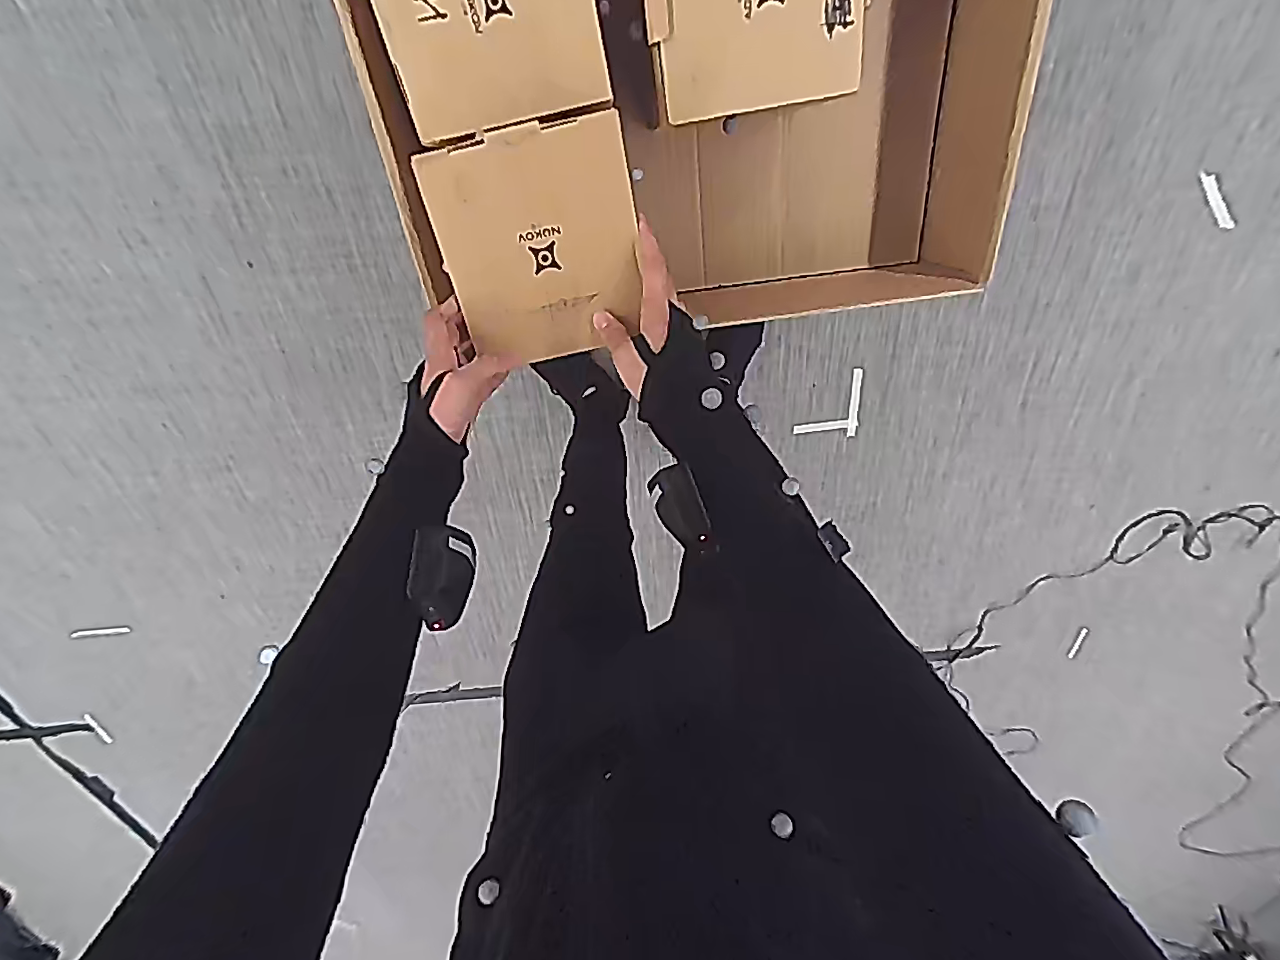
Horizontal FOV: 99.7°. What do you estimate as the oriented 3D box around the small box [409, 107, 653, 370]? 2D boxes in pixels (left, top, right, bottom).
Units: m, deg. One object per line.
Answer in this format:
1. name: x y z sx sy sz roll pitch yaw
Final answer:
1. small box: -0.088 -0.223 0.519 0.168 0.176 0.179 -12 115 3
